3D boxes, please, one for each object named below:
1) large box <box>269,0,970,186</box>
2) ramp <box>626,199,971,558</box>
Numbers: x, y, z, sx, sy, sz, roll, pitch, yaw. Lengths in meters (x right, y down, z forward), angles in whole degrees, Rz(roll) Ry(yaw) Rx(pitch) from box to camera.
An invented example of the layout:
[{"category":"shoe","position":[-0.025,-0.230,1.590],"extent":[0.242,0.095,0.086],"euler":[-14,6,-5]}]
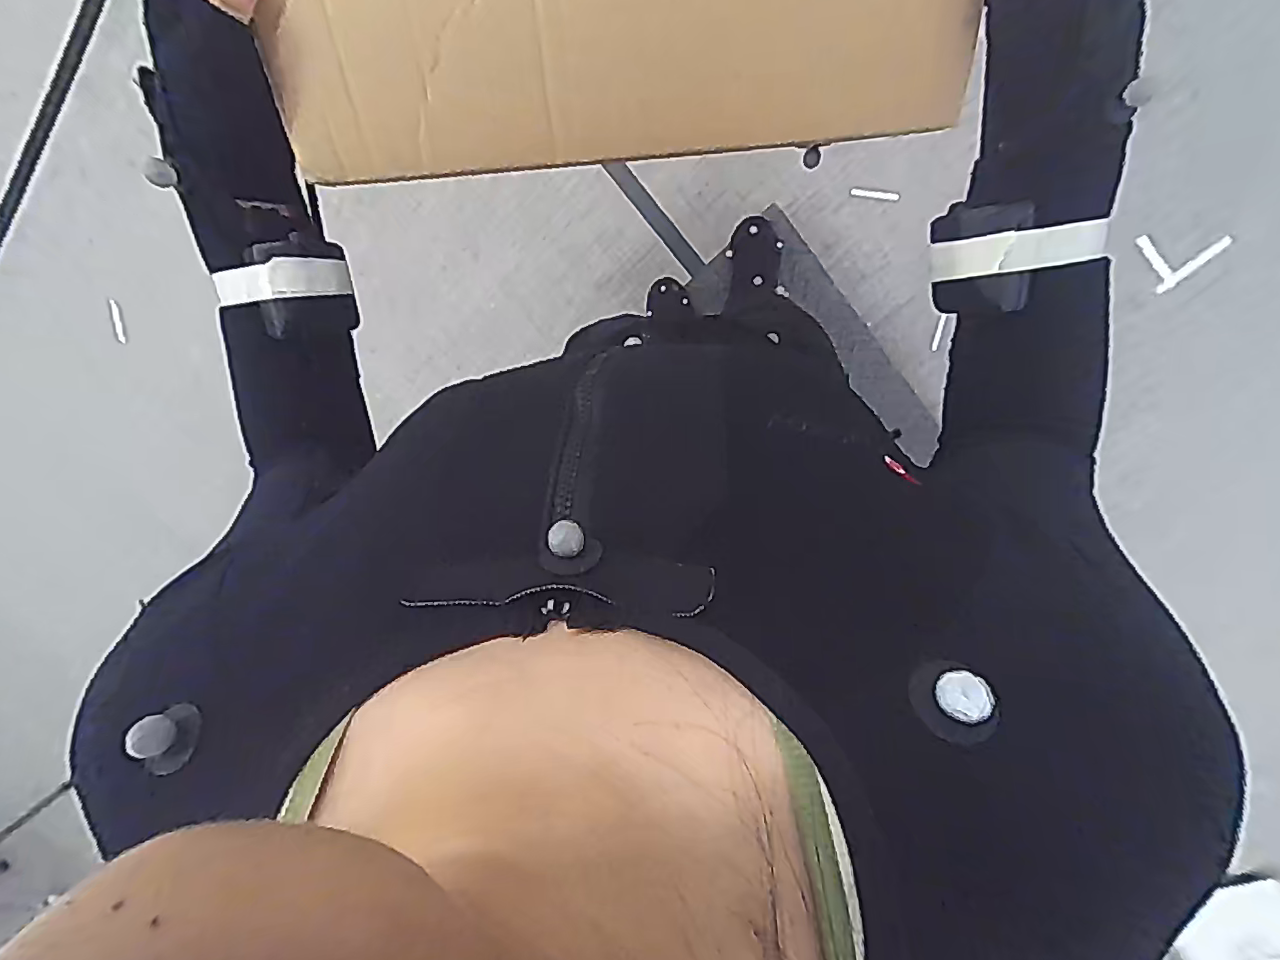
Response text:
[{"category":"large box","position":[-0.012,-0.416,0.390],"extent":[0.408,0.320,0.320],"euler":[-2,122,5]},{"category":"ramp","position":[0.474,-0.202,1.508],"extent":[0.509,0.206,0.991],"euler":[-41,102,20]}]
